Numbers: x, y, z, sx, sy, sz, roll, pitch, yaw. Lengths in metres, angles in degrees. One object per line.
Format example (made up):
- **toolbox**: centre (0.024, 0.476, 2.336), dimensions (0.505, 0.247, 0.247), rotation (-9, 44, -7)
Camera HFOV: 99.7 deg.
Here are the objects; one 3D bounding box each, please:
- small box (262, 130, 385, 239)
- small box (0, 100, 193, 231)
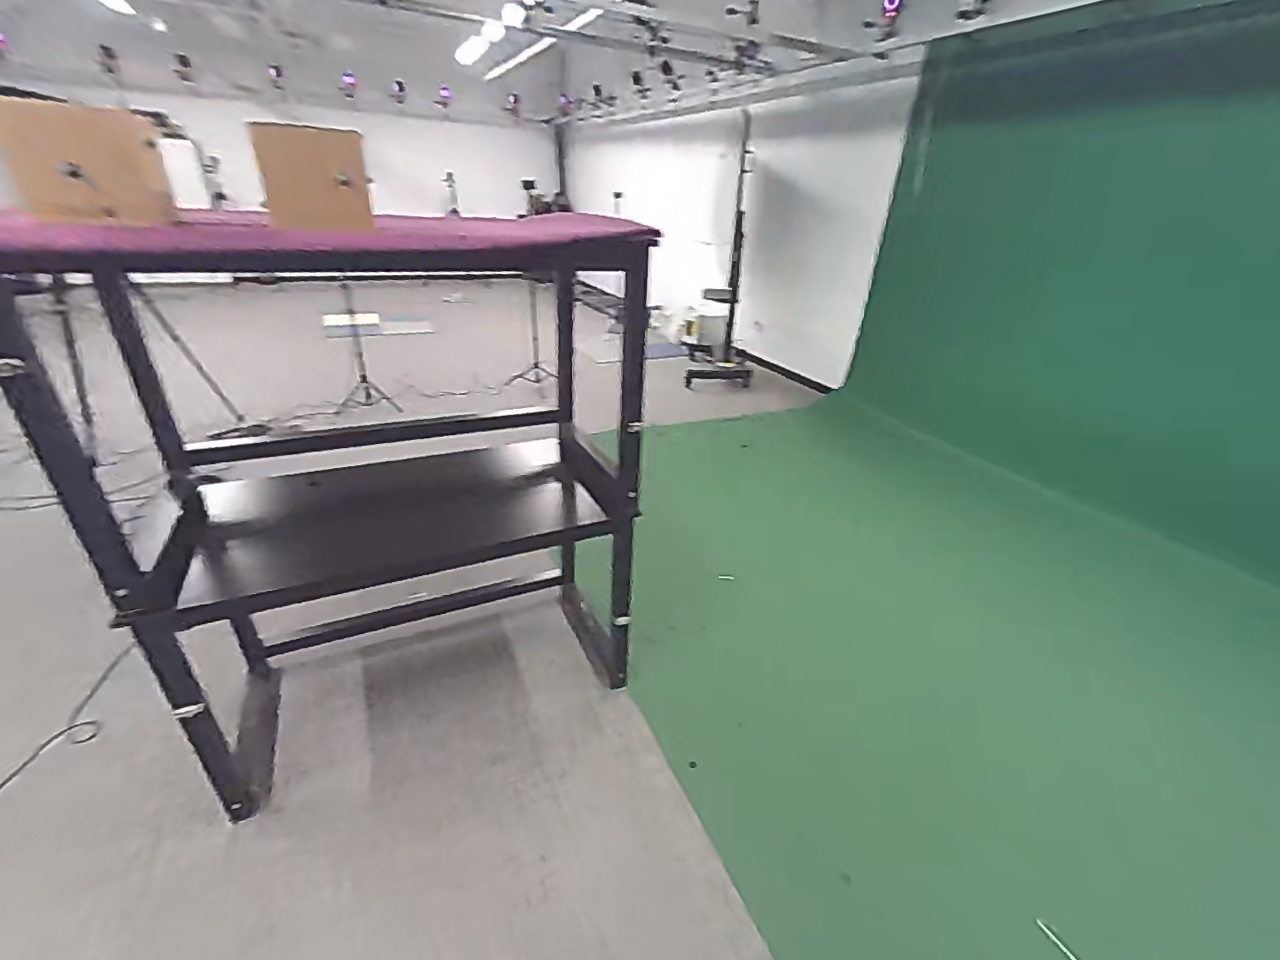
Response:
- **small box**: centre (-0.601, -0.566, 1.047), dimensions (0.179, 0.176, 0.168), rotation (-11, 30, -25)
- **small box**: centre (-0.886, -0.517, 0.906), dimensions (0.168, 0.176, 0.179), rotation (-9, 30, -26)
